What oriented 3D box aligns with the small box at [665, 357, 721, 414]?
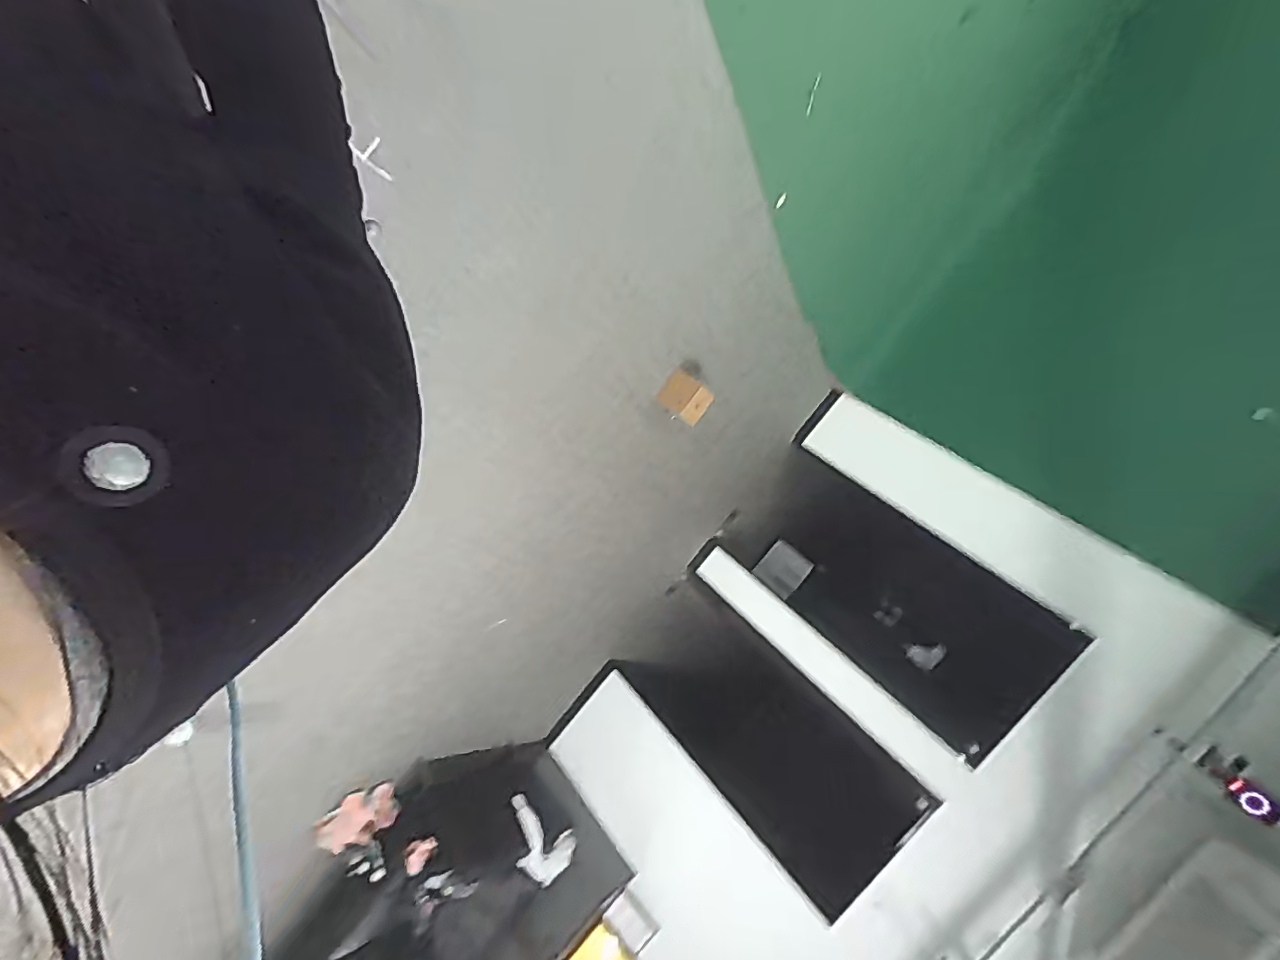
[{"bbox_3d":[0.241,-0.443,2.541,0.179,0.176,0.168,-54,148,7],"label":"small box"}]
